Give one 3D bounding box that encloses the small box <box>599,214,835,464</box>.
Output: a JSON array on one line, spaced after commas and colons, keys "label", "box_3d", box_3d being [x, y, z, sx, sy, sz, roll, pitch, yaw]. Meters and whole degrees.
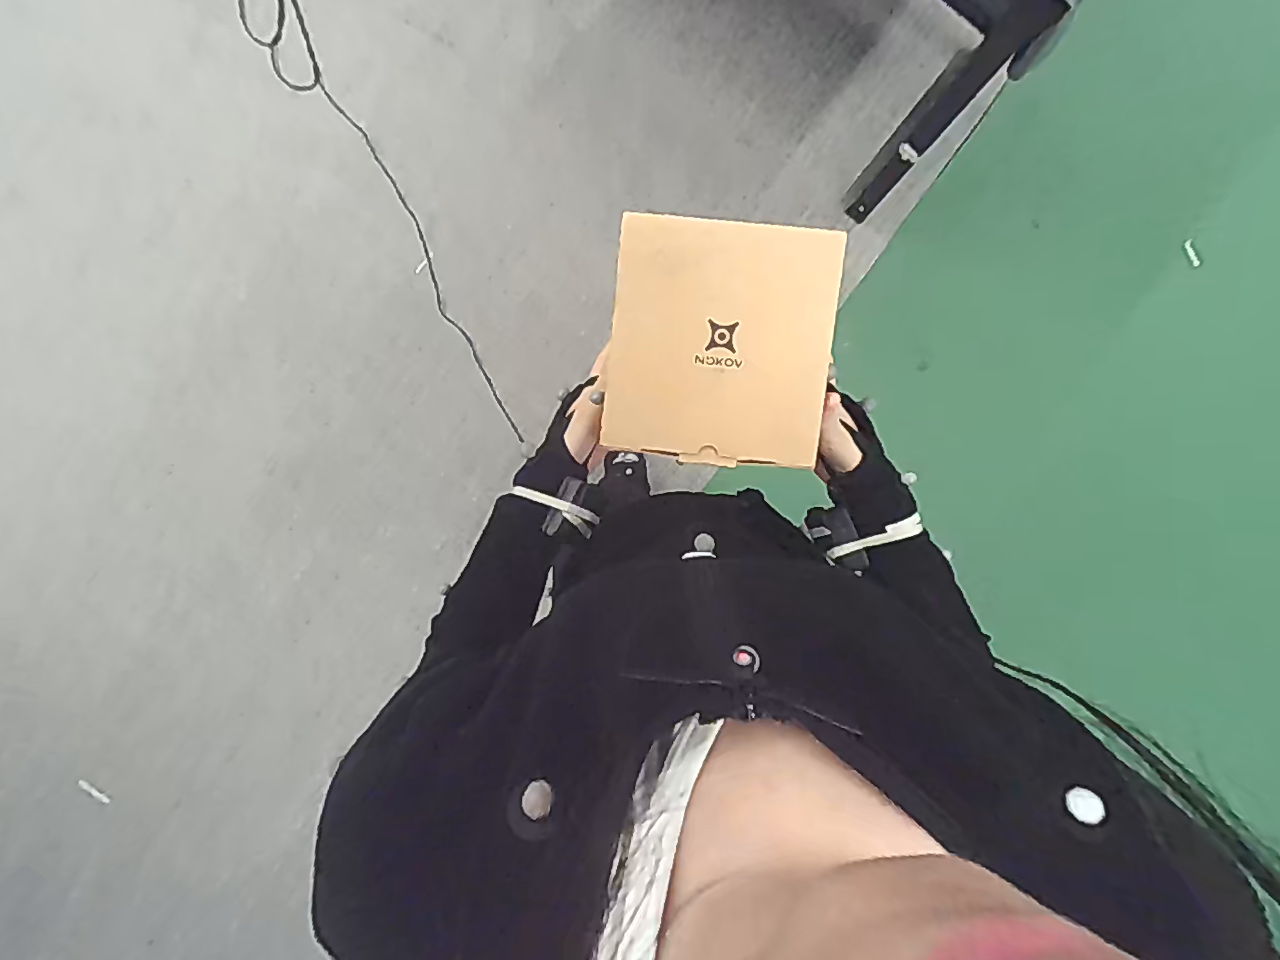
[{"label": "small box", "box_3d": [0.059, -0.113, 0.488, 0.168, 0.176, 0.179, 5, 97, 2]}]
